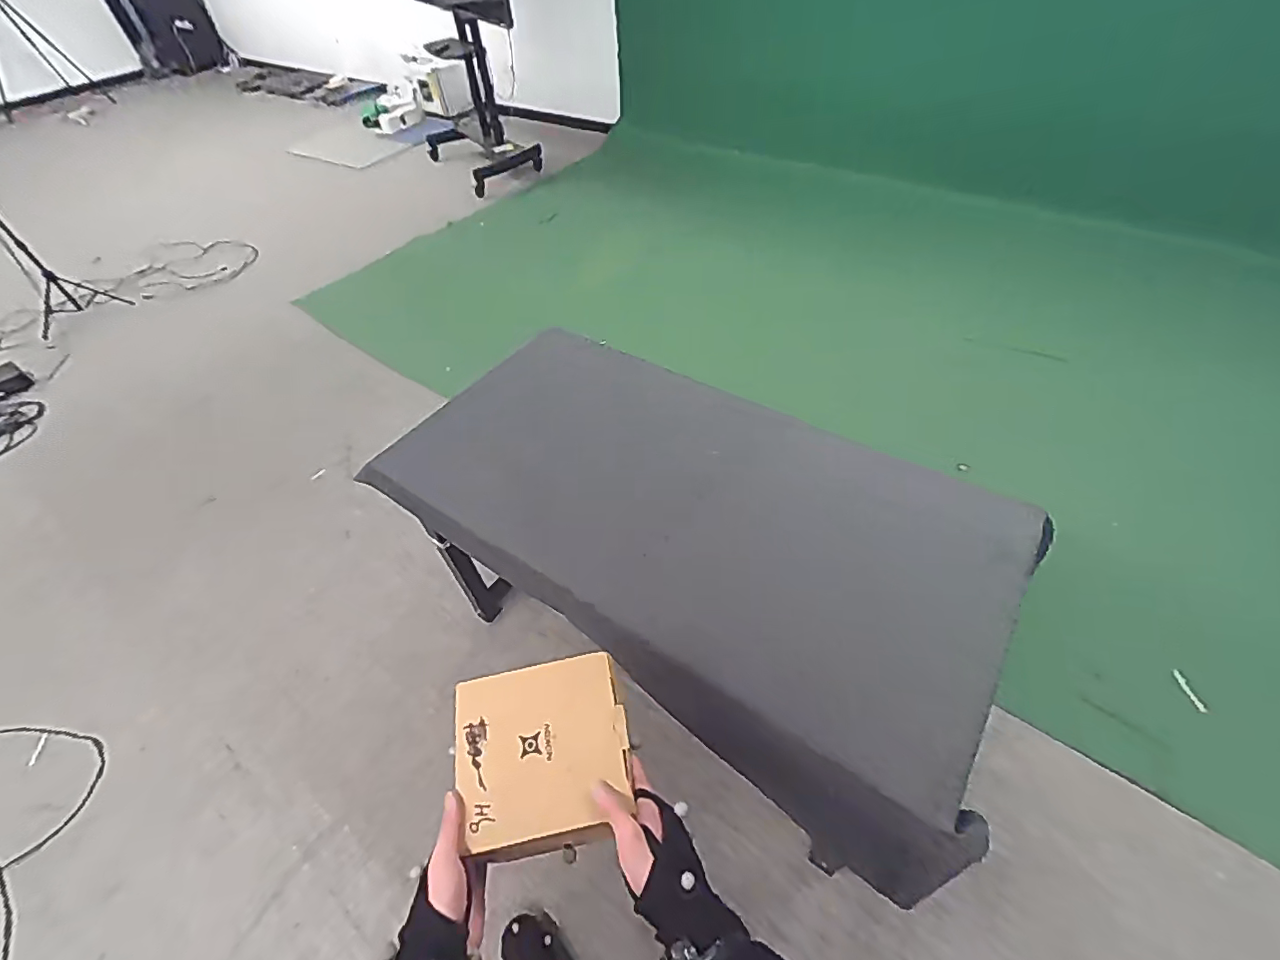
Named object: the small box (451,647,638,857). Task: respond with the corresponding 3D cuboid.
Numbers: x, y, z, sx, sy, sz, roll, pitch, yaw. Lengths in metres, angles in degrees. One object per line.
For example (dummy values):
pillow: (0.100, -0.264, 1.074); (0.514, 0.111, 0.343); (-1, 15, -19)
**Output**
small box: (-0.102, 0.310, 0.612); (0.179, 0.176, 0.168); (-9, 52, -6)
